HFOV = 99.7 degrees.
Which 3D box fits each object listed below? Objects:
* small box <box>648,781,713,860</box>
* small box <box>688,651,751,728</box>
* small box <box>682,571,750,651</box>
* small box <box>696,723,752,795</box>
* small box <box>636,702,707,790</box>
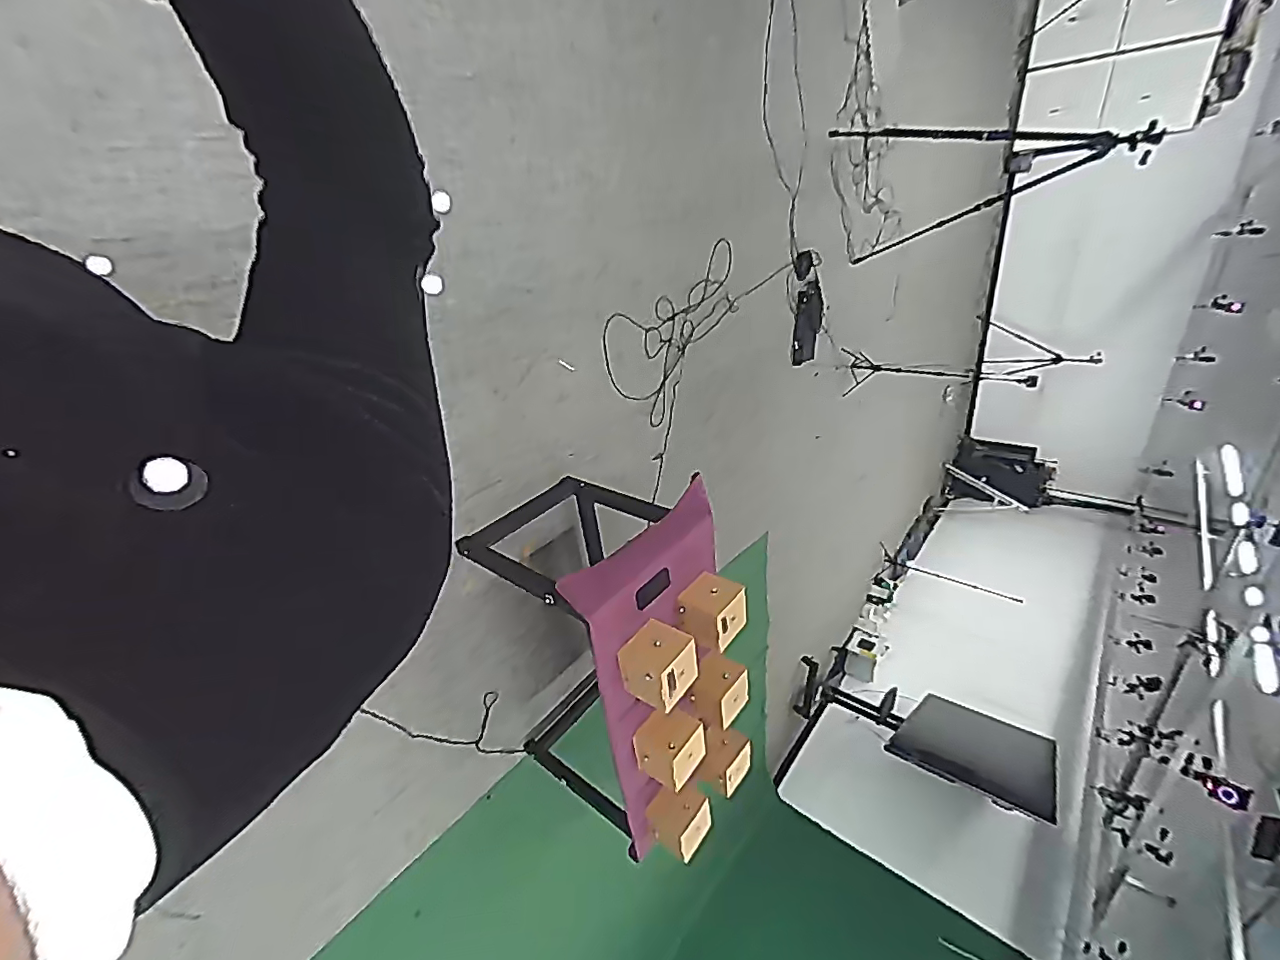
[{"bbox_3d":[0.152,1.245,2.010,0.179,0.176,0.168,-34,125,-39],"label":"small box"},{"bbox_3d":[0.299,0.779,2.030,0.179,0.176,0.168,-32,125,-40],"label":"small box"},{"bbox_3d":[0.256,0.442,1.851,0.179,0.176,0.168,-34,127,-39],"label":"small box"},{"bbox_3d":[0.342,1.126,2.205,0.179,0.176,0.168,-31,125,-41],"label":"small box"},{"bbox_3d":[0.109,0.895,1.839,0.179,0.176,0.168,-34,127,-40],"label":"small box"}]
